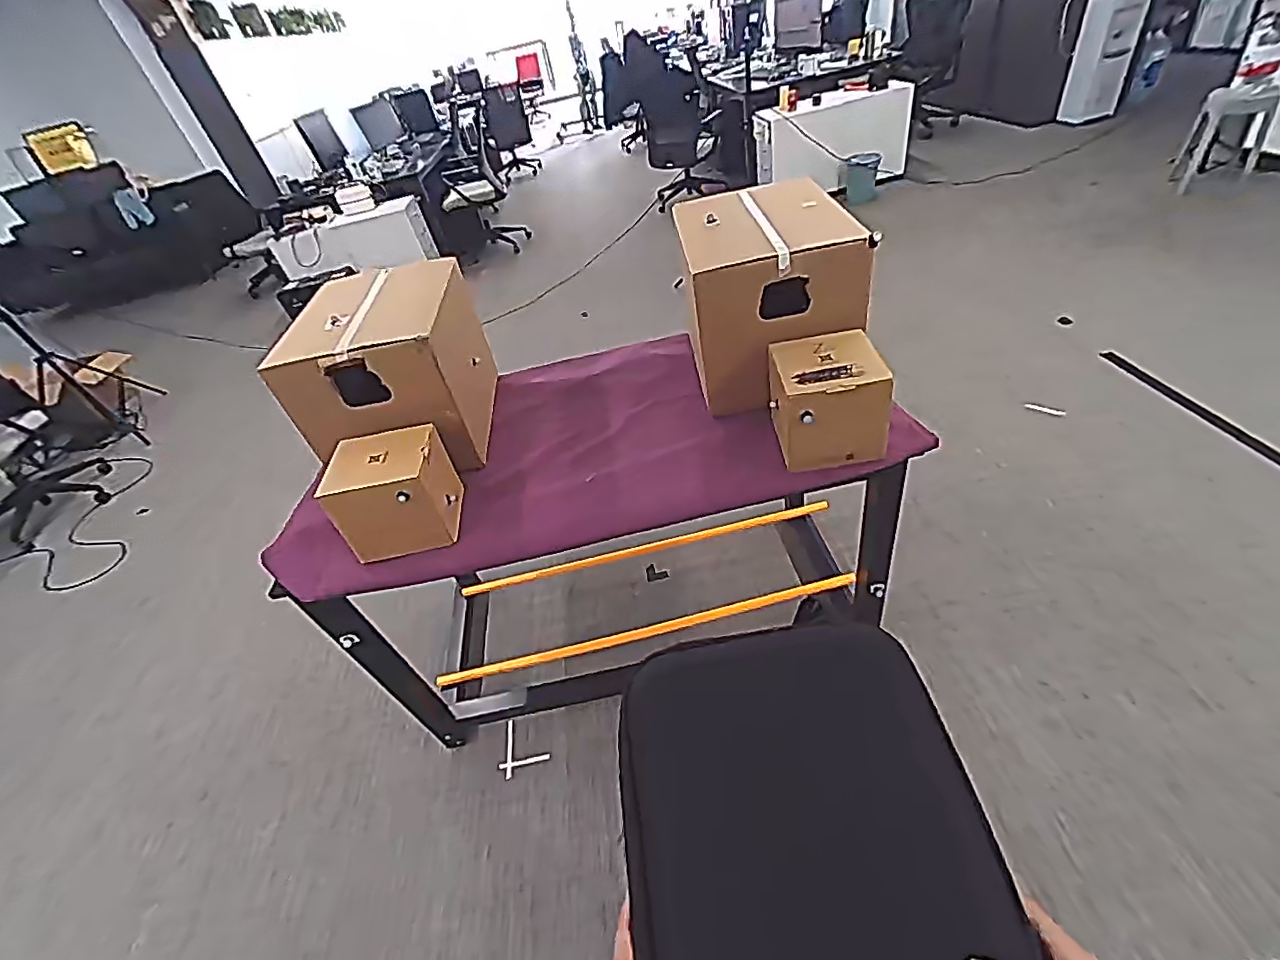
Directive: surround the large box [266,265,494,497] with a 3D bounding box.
[{"bbox_3d":[-0.528,-0.228,1.207,0.320,0.320,0.408,-12,43,0],"label":"large box"}]
